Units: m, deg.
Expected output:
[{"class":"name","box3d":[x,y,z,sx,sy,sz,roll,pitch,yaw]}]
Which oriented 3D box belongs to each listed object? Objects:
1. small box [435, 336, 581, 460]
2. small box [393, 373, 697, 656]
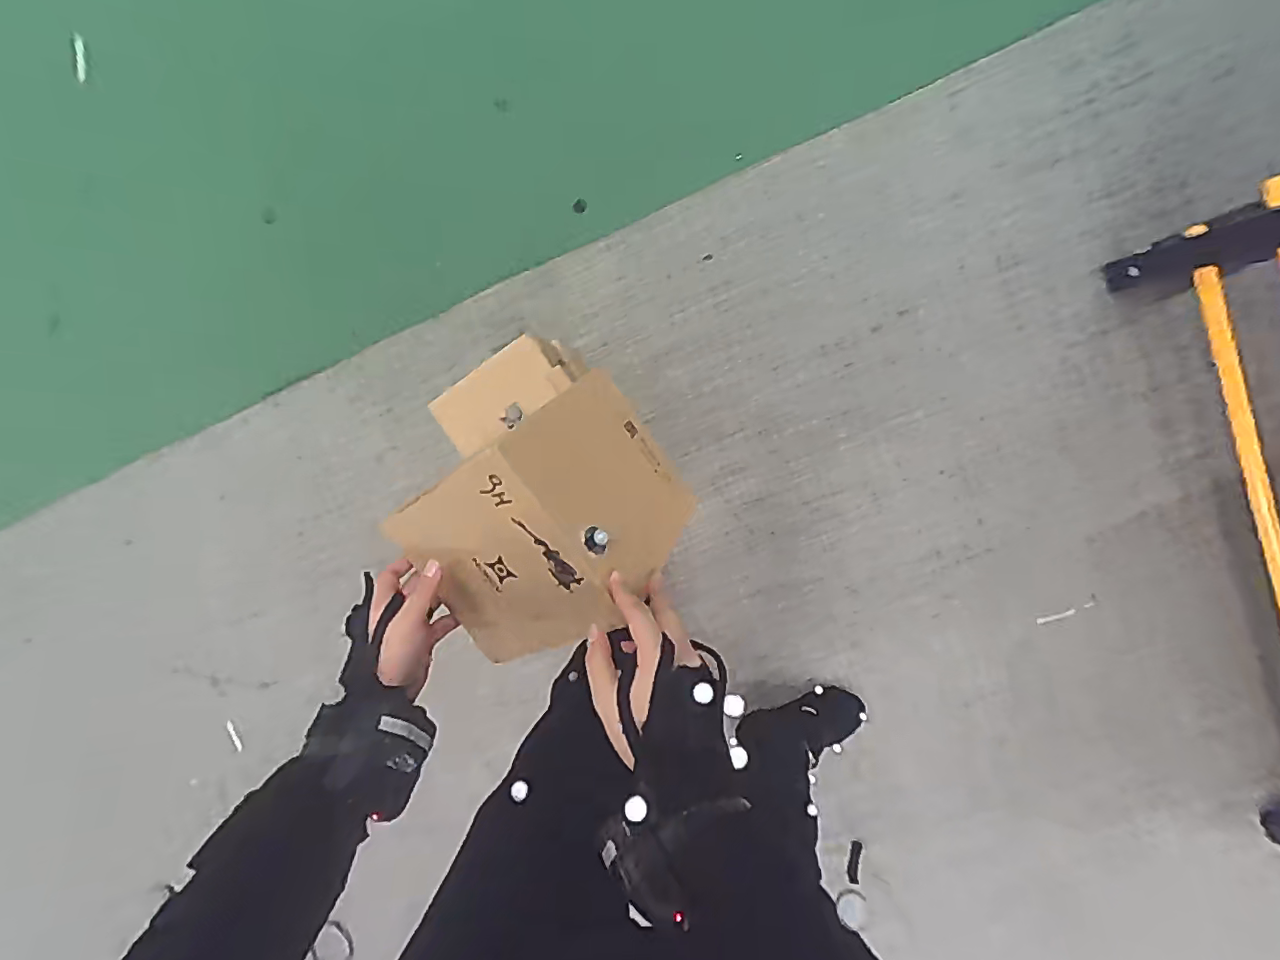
[{"class":"small box","box3d":[-0.161,-0.089,0.809,0.179,0.176,0.168,-35,92,8]},{"class":"small box","box3d":[-0.076,0.031,0.495,0.179,0.176,0.168,-25,107,36]}]
